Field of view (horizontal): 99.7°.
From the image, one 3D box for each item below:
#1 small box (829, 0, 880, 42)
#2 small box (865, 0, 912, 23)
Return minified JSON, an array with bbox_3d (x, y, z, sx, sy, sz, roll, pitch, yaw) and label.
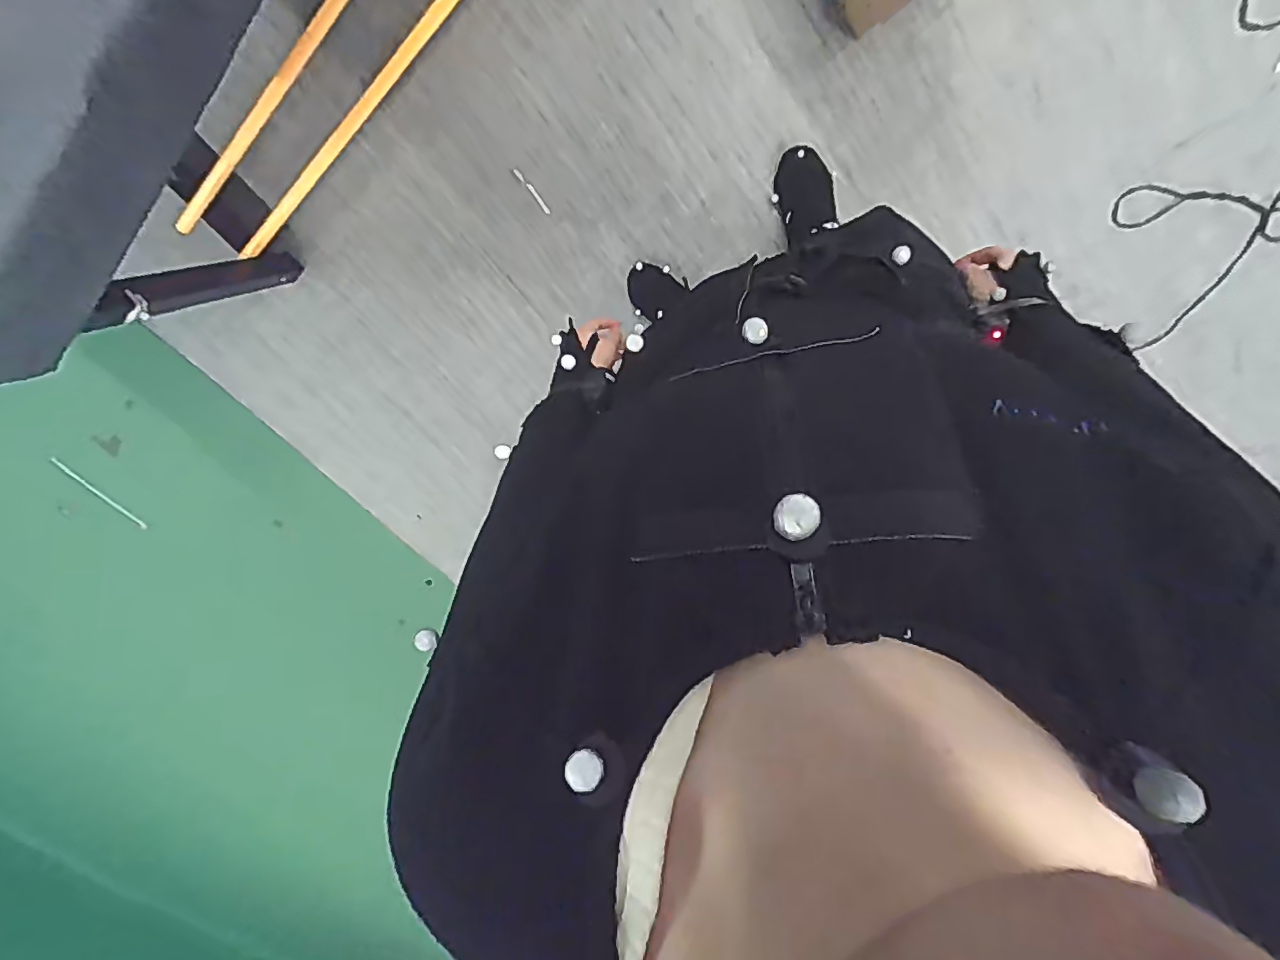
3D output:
[{"bbox_3d":[0.404,-0.867,0.871,0.179,0.176,0.168,-34,109,20],"label":"small box"},{"bbox_3d":[0.383,-0.781,0.734,0.179,0.176,0.168,-36,109,21],"label":"small box"}]
